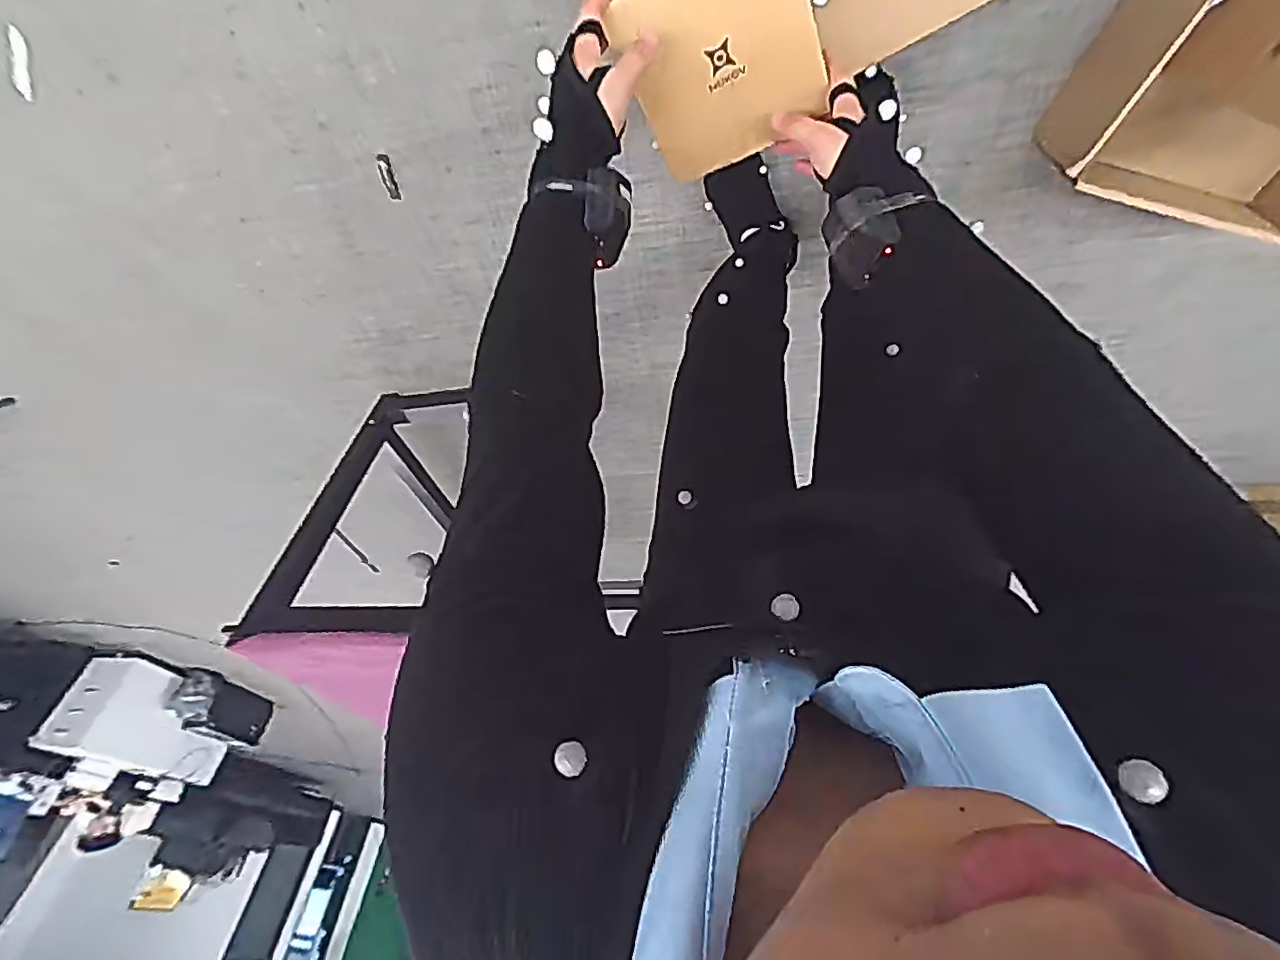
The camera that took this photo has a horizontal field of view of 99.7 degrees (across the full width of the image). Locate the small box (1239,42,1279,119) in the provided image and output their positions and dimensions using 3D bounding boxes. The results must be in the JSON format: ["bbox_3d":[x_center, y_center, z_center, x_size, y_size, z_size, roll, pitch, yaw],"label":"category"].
[{"bbox_3d":[0.830,-0.461,0.572,0.179,0.176,0.168,8,138,-2],"label":"small box"}]
